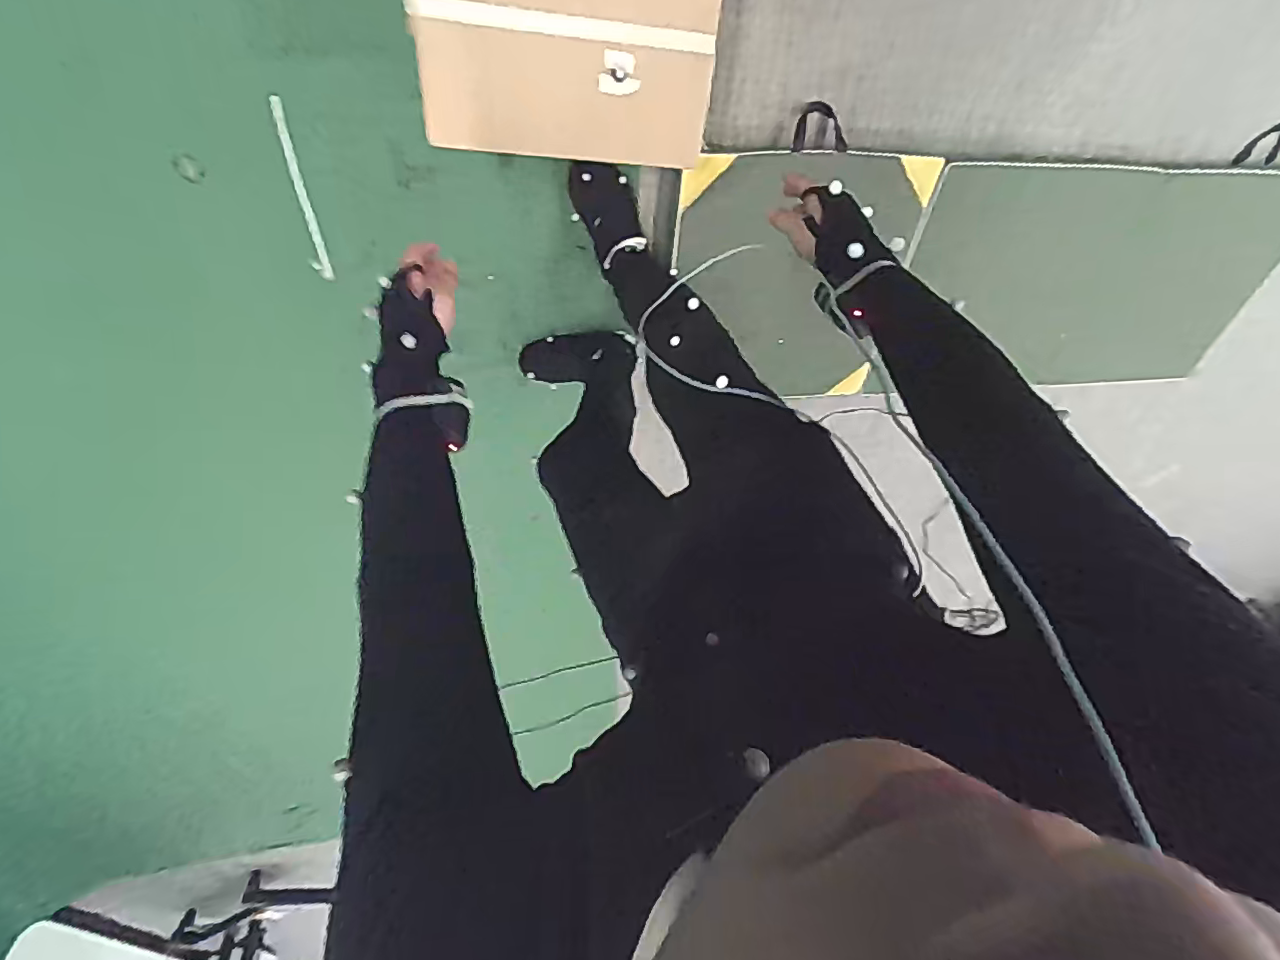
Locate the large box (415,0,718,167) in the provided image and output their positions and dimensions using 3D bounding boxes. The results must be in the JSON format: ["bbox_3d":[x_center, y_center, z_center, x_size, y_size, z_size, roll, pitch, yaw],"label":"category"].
[{"bbox_3d":[-0.122,-0.699,0.836,0.408,0.320,0.320,-3,132,-12],"label":"large box"}]
